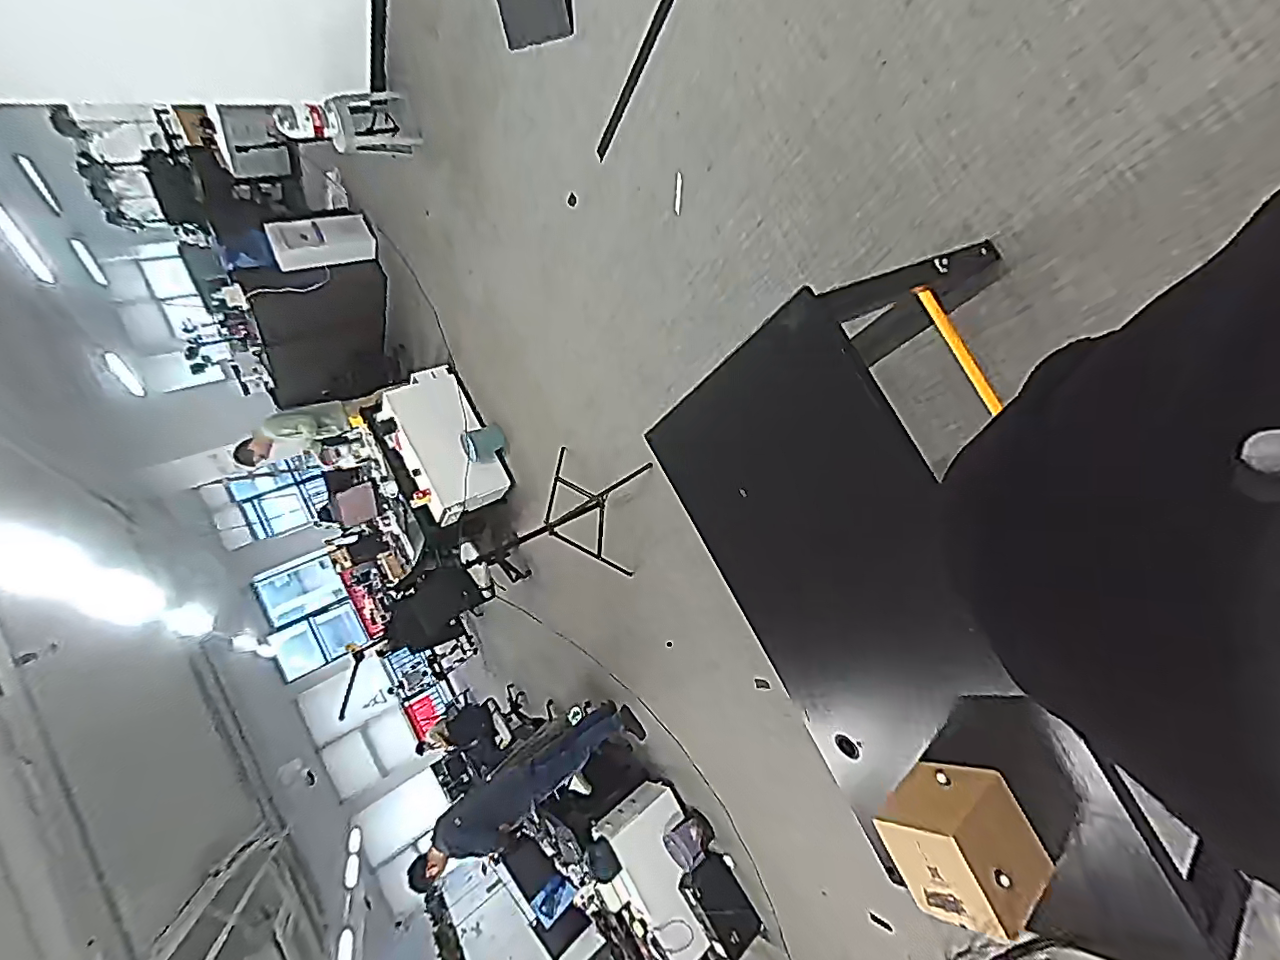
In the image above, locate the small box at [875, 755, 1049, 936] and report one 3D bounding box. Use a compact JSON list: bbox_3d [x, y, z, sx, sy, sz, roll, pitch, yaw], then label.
[{"bbox_3d":[0.559,0.616,0.939,0.179,0.176,0.168,62,148,6],"label":"small box"}]
